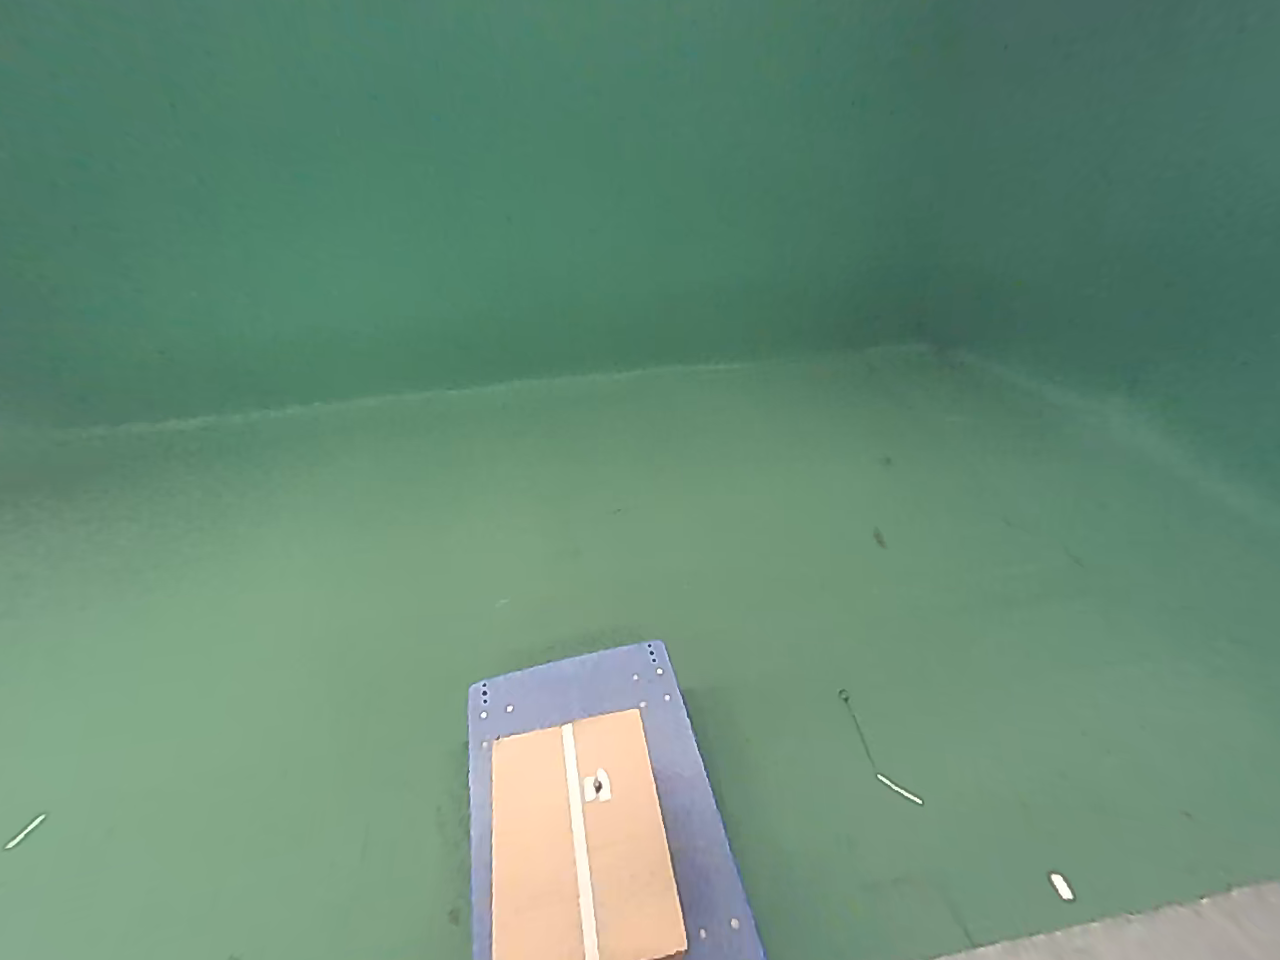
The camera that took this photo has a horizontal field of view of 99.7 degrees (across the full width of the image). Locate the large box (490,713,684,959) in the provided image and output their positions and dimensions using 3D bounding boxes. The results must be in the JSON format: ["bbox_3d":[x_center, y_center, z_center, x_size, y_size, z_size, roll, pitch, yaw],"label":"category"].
[{"bbox_3d":[-0.112,0.760,1.090,0.320,0.320,0.408,-8,43,-8],"label":"large box"}]
